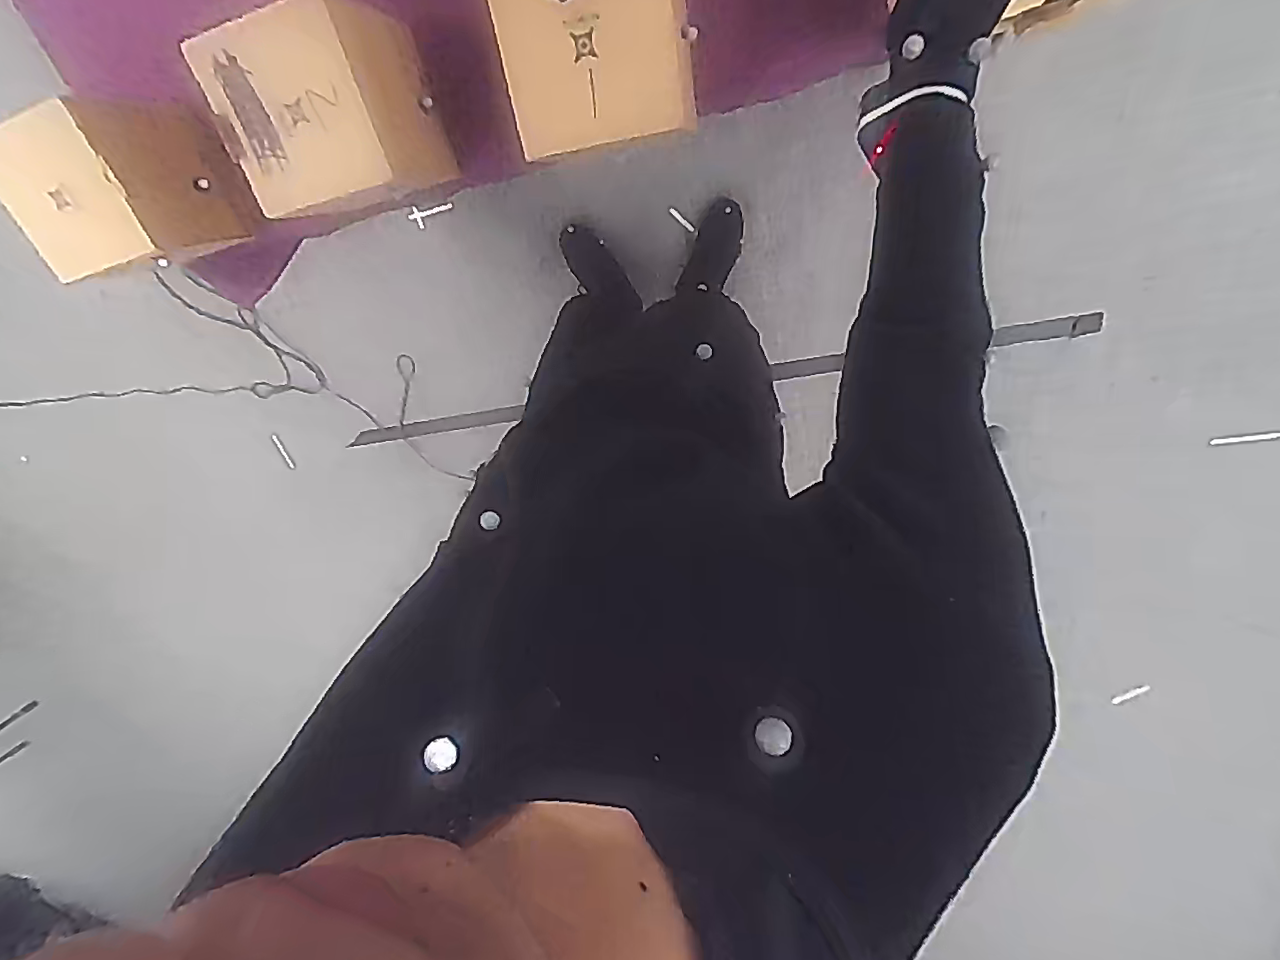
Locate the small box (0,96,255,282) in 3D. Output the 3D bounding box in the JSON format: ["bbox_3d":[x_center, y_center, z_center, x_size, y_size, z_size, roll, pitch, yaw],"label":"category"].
[{"bbox_3d":[-0.675,-0.380,0.718,0.179,0.176,0.168,-10,118,15],"label":"small box"}]

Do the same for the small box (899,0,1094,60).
[{"bbox_3d":[0.321,-0.492,0.453,0.168,0.176,0.179,-8,119,17],"label":"small box"}]
